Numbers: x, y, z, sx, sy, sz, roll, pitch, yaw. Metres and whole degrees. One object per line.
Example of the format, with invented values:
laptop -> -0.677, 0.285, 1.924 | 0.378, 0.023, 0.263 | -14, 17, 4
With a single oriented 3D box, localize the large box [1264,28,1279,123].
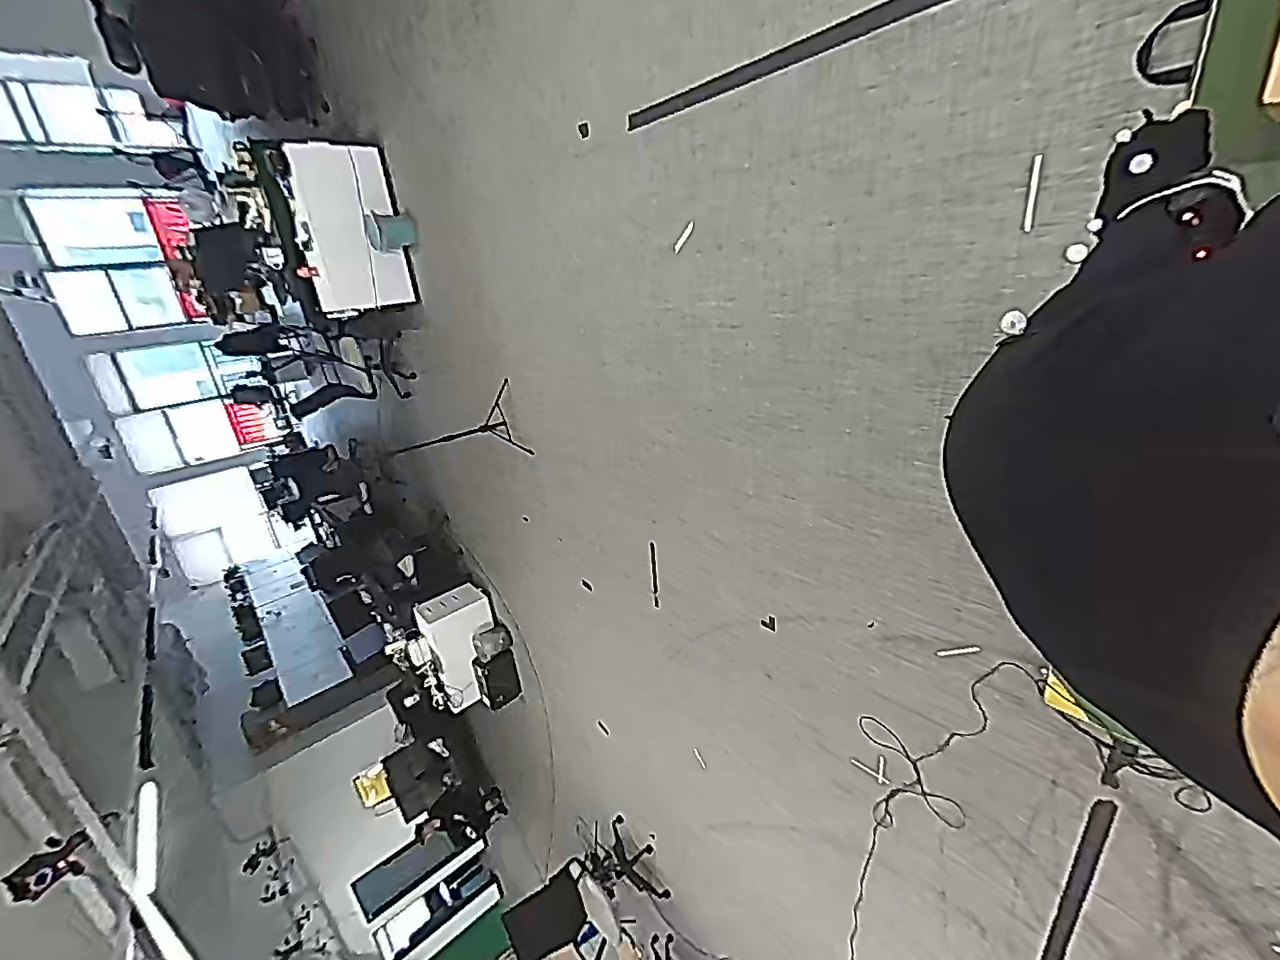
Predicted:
large box -> 1.062, -0.655, 0.623 | 0.408, 0.320, 0.320 | 17, 121, 46
